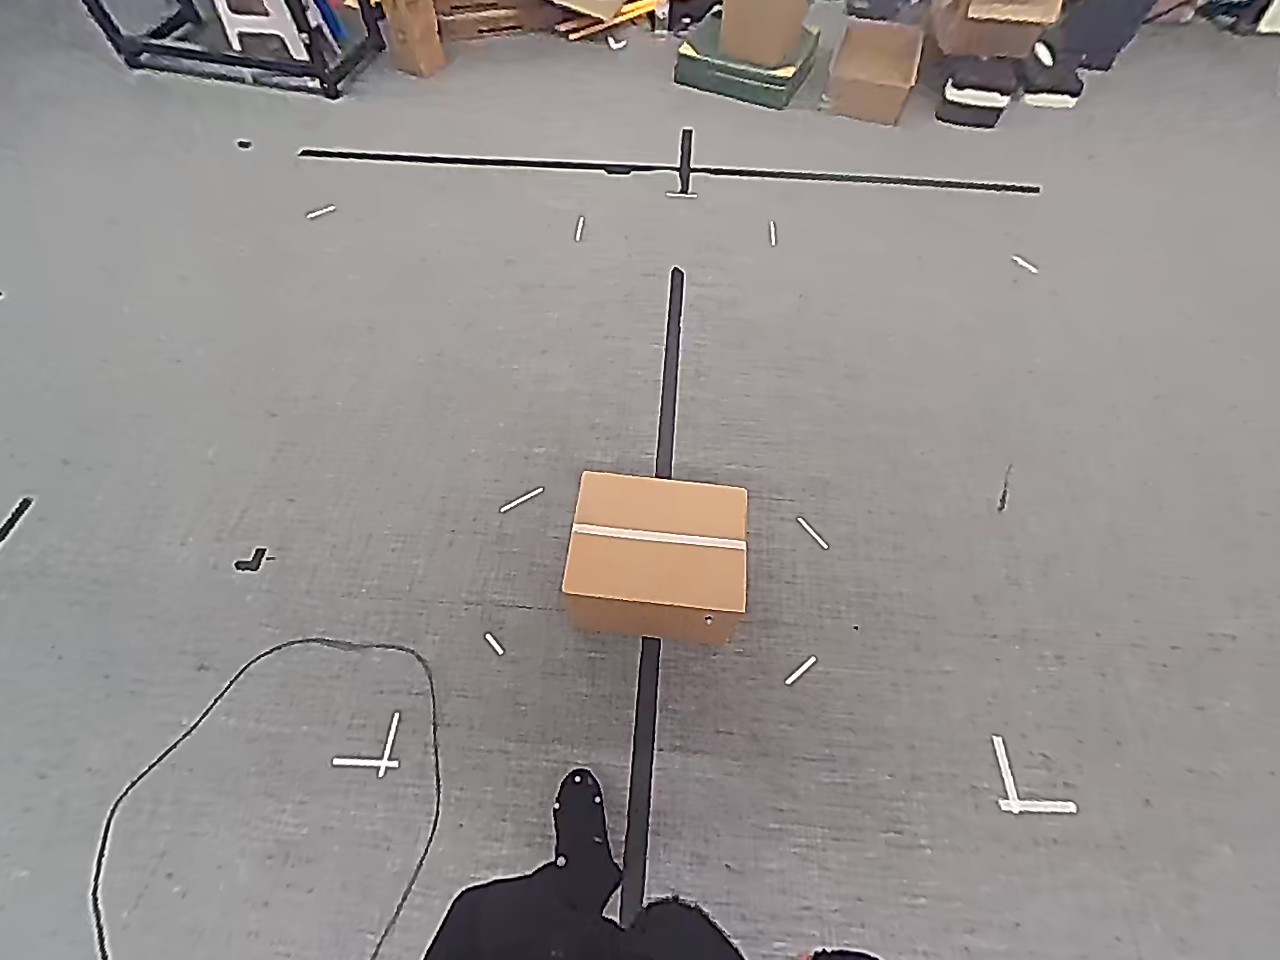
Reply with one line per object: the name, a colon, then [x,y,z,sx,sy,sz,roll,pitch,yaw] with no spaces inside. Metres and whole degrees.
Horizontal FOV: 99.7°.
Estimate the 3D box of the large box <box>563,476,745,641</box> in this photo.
large box: [0.039,0.210,1.372,0.408,0.320,0.320,6,60,1]
